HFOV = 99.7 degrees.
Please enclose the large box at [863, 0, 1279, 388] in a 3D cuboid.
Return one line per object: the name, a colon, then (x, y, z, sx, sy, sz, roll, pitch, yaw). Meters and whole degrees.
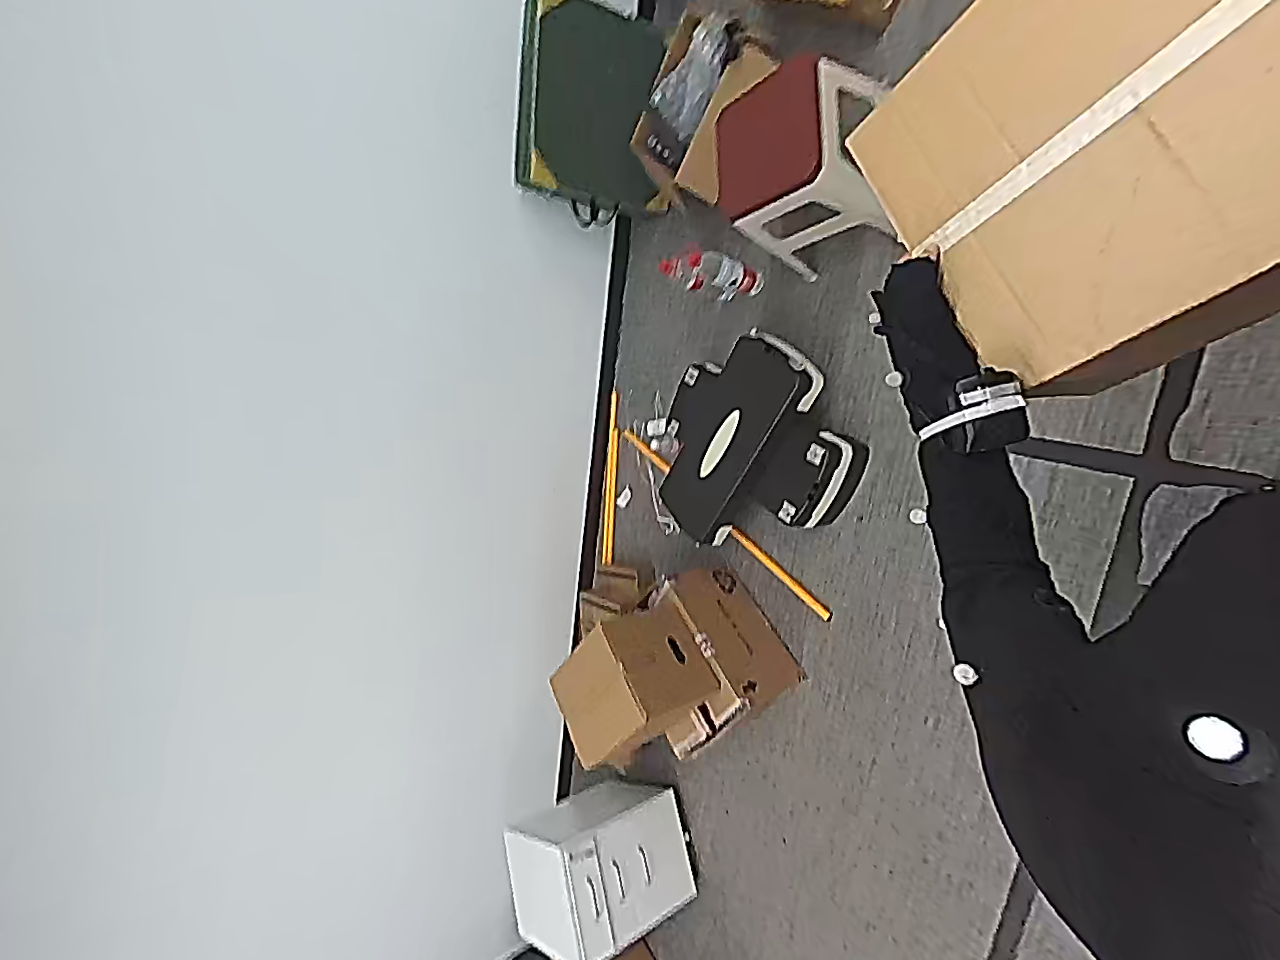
large box: (0.493, -0.313, 0.458, 0.408, 0.320, 0.320, -36, 69, 47)
